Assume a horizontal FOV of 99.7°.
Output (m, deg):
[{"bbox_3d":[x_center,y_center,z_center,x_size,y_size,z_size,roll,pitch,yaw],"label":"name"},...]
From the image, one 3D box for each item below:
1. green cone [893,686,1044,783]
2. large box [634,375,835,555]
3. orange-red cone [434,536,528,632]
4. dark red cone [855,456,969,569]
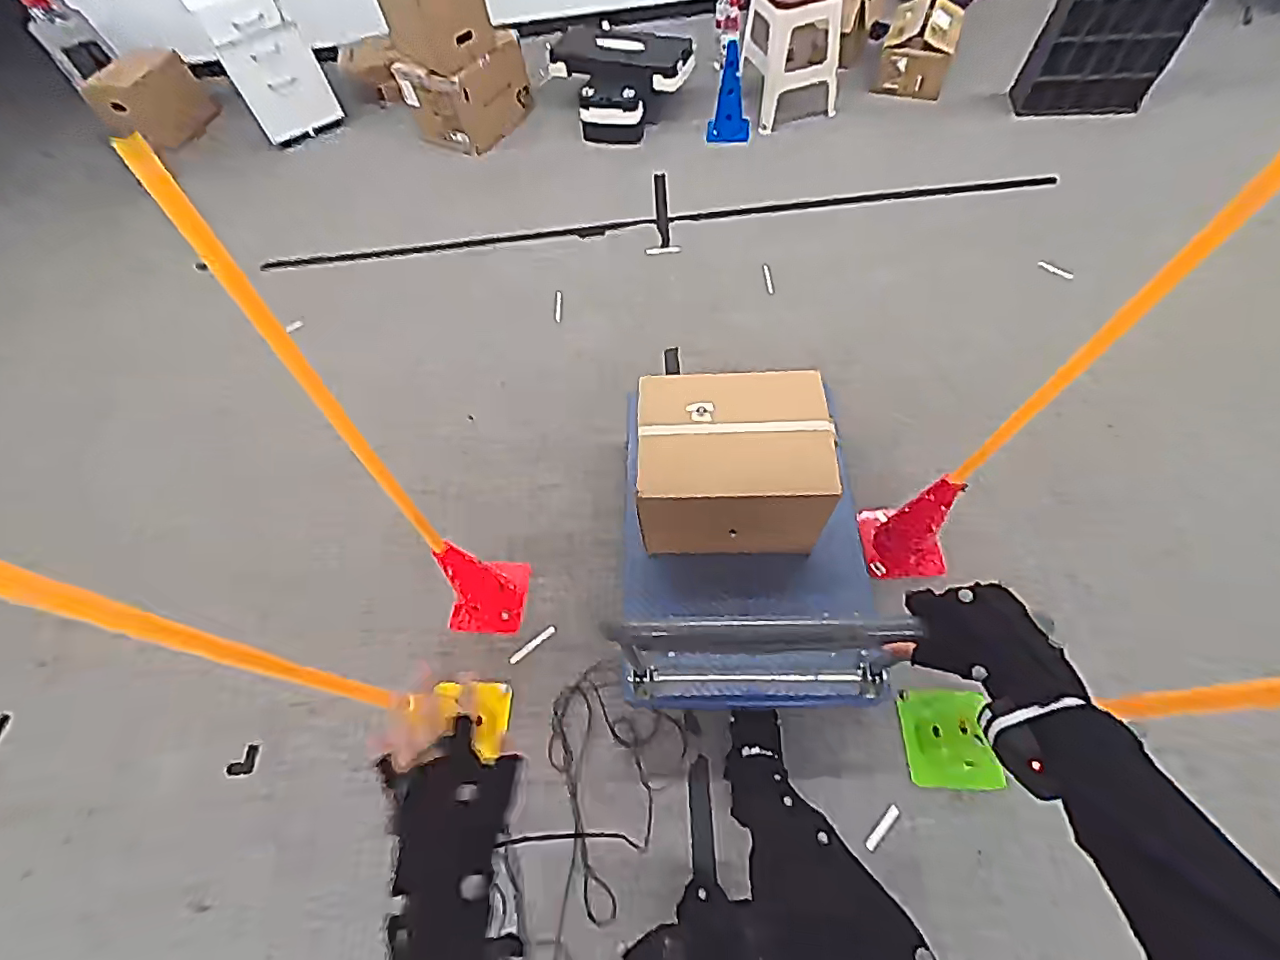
[{"bbox_3d":[0.686,0.494,1.092,0.202,0.368,0.200,0,60,4],"label":"green cone"},{"bbox_3d":[0.202,-0.020,1.271,0.408,0.320,0.320,-1,61,5],"label":"large box"},{"bbox_3d":[-0.432,0.228,1.355,0.198,0.360,0.199,3,59,6],"label":"orange-red cone"},{"bbox_3d":[0.690,0.065,1.319,0.201,0.394,0.202,-3,60,1],"label":"dark red cone"}]
